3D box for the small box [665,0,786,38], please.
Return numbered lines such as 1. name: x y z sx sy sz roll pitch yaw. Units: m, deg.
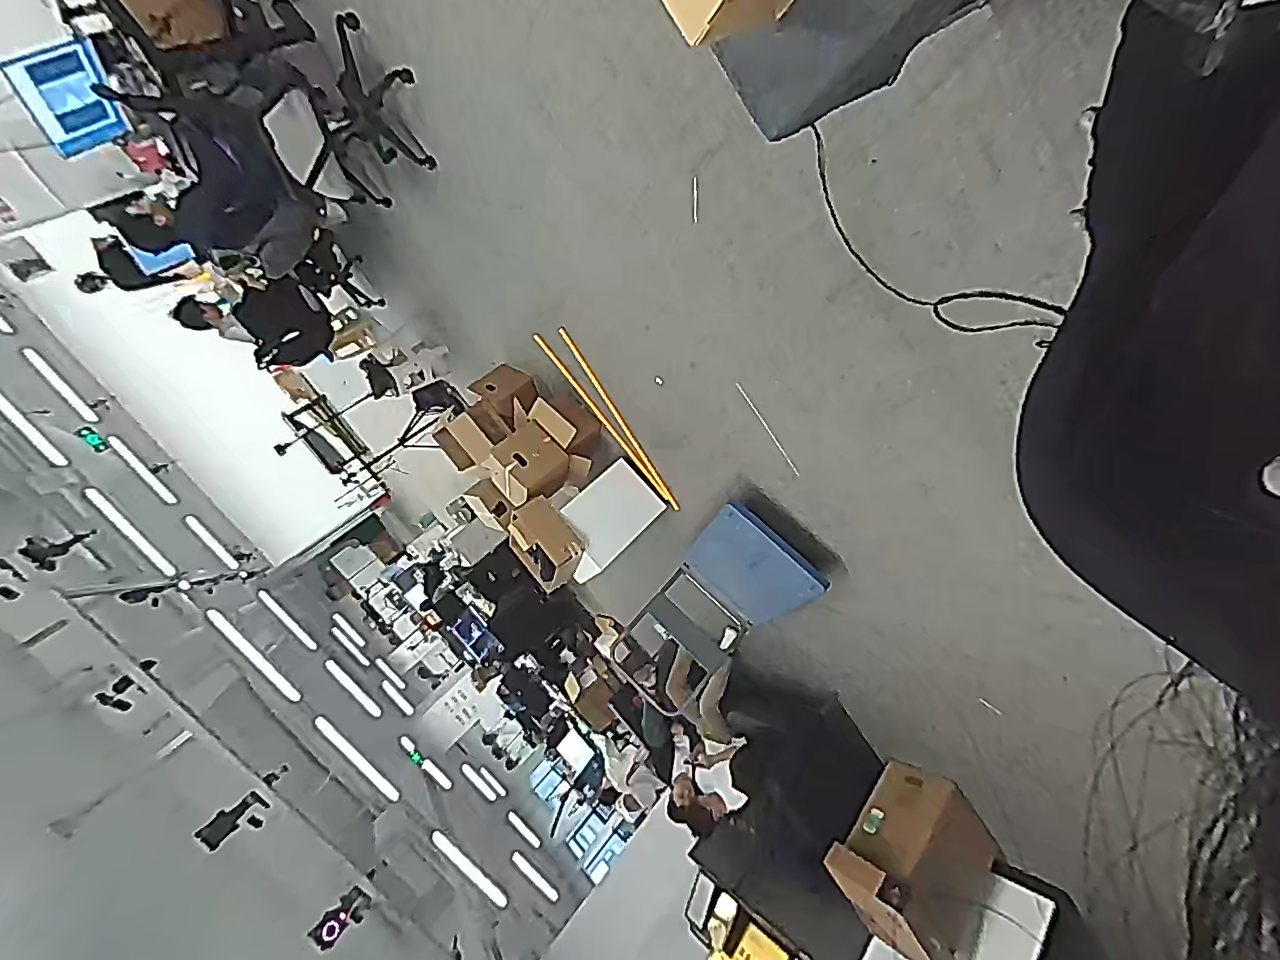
1. small box: 0.098 -0.597 0.532 0.179 0.176 0.168 52 153 -10
